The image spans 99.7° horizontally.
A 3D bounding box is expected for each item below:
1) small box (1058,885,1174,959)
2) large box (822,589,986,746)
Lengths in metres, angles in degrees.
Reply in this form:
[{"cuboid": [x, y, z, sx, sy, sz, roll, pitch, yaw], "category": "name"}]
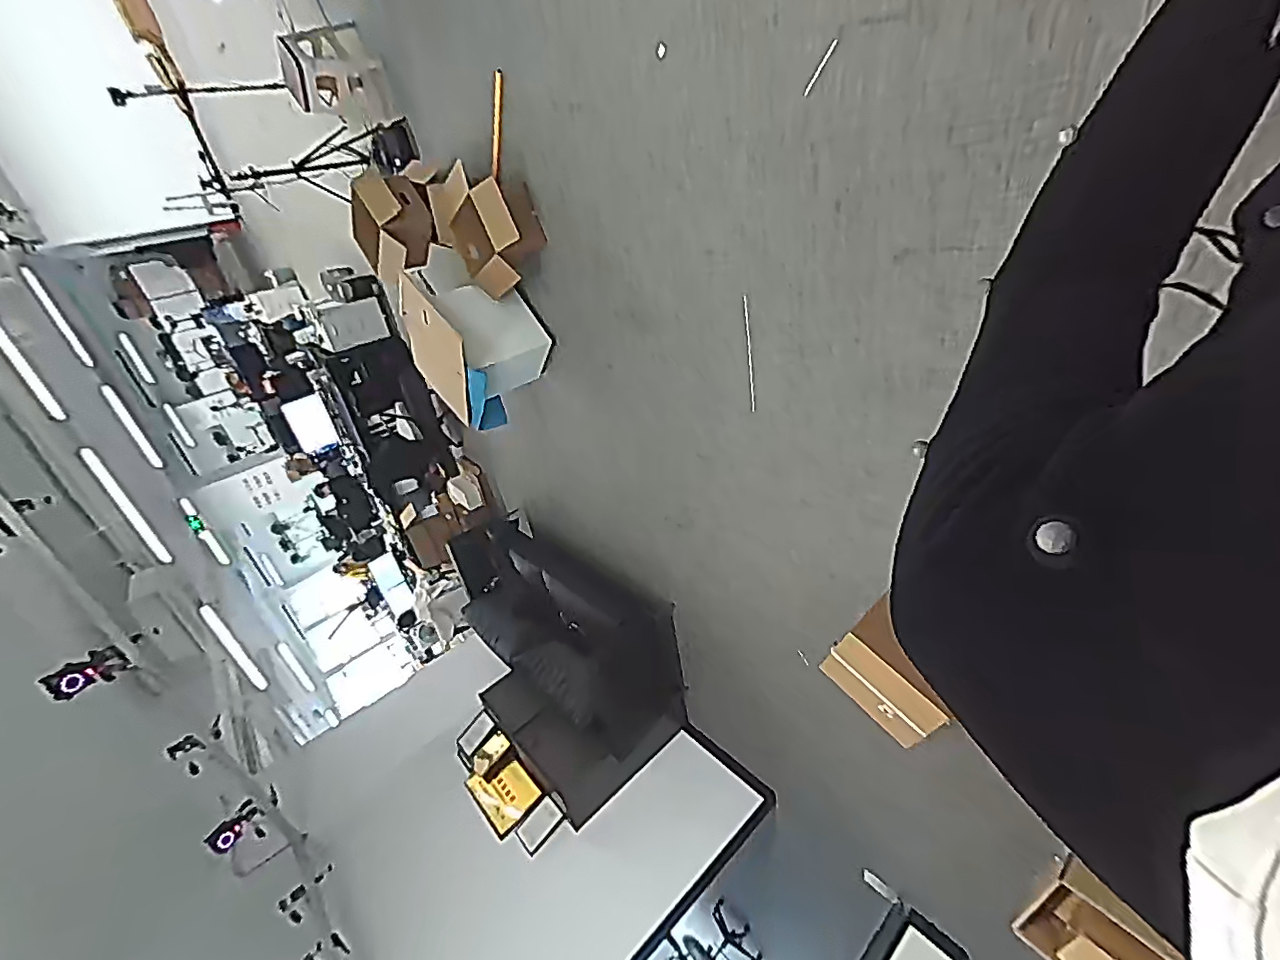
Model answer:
[{"cuboid": [1.256, 1.229, 1.426, 0.168, 0.176, 0.179, 31, 137, 39], "category": "small box"}, {"cuboid": [0.985, 0.699, 2.047, 0.408, 0.320, 0.320, 41, 145, 26], "category": "large box"}]
